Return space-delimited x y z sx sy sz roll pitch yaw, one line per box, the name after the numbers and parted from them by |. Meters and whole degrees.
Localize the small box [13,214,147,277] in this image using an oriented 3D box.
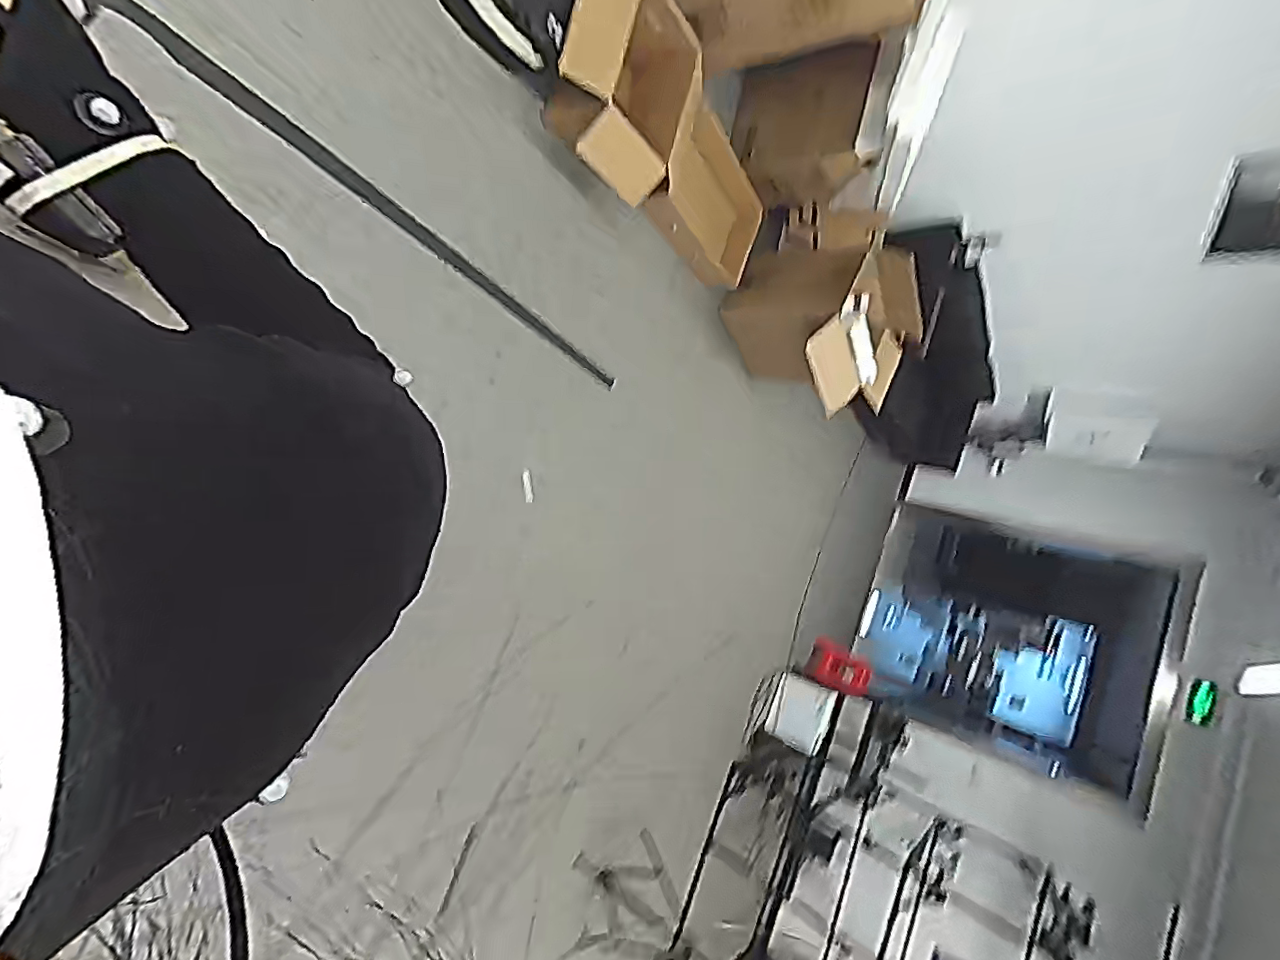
-0.970 -0.485 0.970 0.168 0.176 0.179 27 81 -52 | small box

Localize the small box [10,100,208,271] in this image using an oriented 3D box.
-0.848 -0.450 0.863 0.179 0.176 0.168 27 80 -52 | small box
